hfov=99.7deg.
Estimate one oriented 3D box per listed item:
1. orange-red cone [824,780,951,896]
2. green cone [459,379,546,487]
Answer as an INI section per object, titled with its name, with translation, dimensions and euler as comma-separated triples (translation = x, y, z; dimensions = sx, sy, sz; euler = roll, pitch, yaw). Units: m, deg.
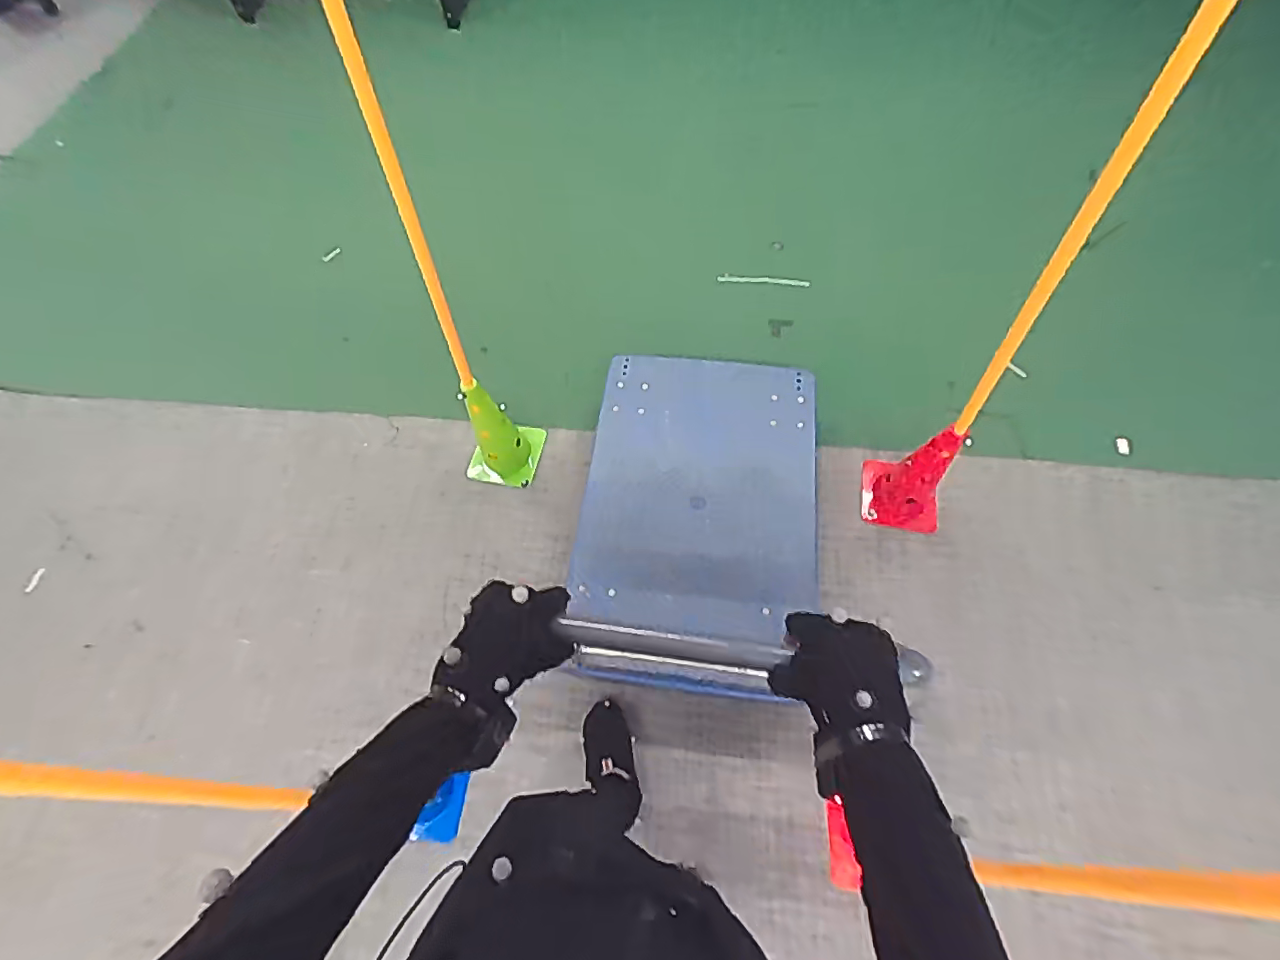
[orange-red cone]
translation = 0.490, 0.694, 1.021
dimensions = 0.199, 0.360, 0.198
euler = 4, 63, 7
[green cone]
translation = -0.408, -0.155, 1.483
dimensions = 0.202, 0.368, 0.200
euler = 9, 64, 8
